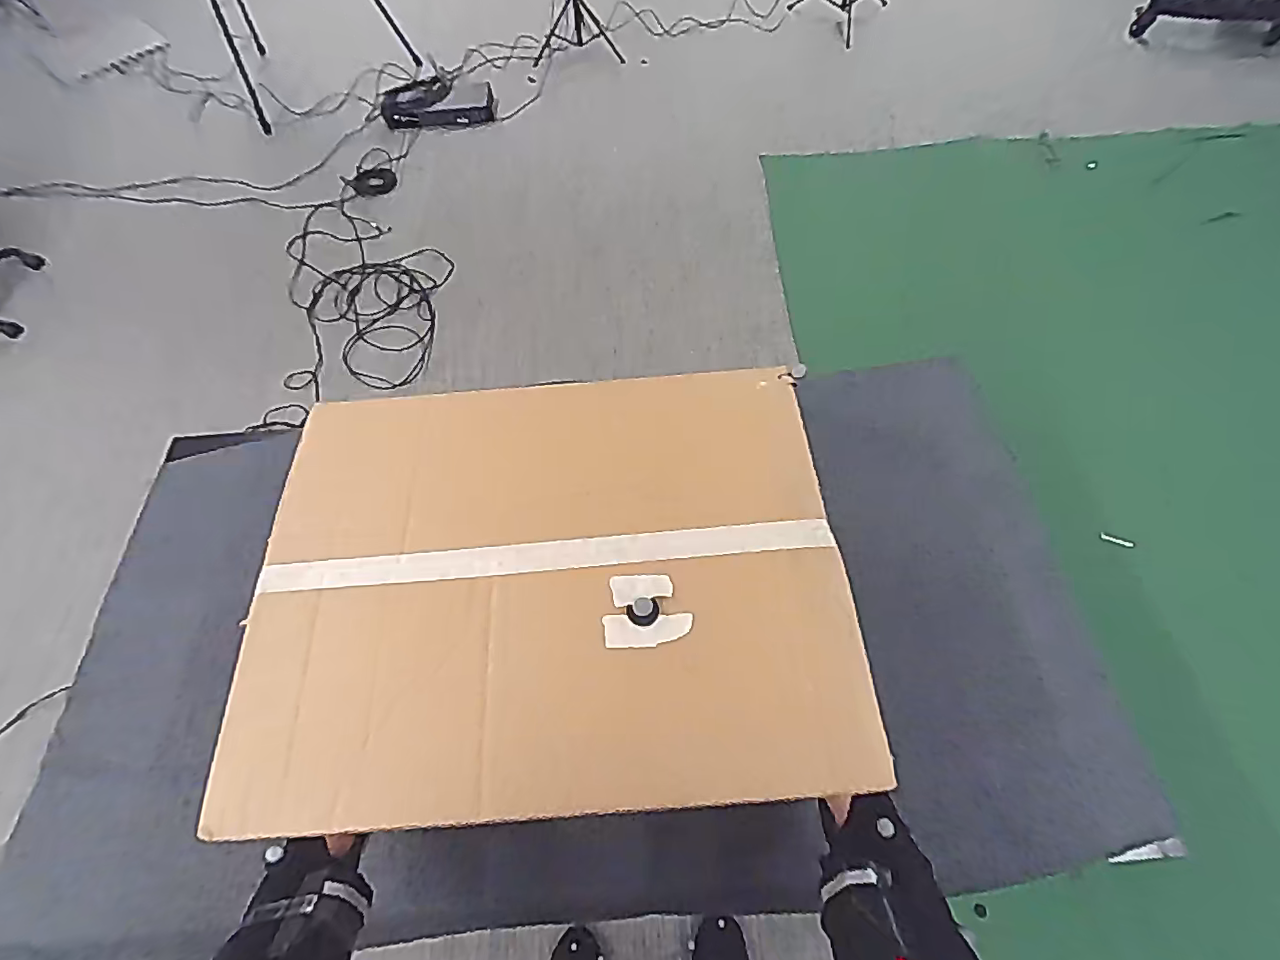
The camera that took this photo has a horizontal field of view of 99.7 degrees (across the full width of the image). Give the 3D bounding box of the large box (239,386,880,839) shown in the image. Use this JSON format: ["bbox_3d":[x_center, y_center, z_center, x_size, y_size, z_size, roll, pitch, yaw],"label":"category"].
[{"bbox_3d":[-0.056,0.139,0.531,0.408,0.320,0.320,-4,61,0],"label":"large box"}]
